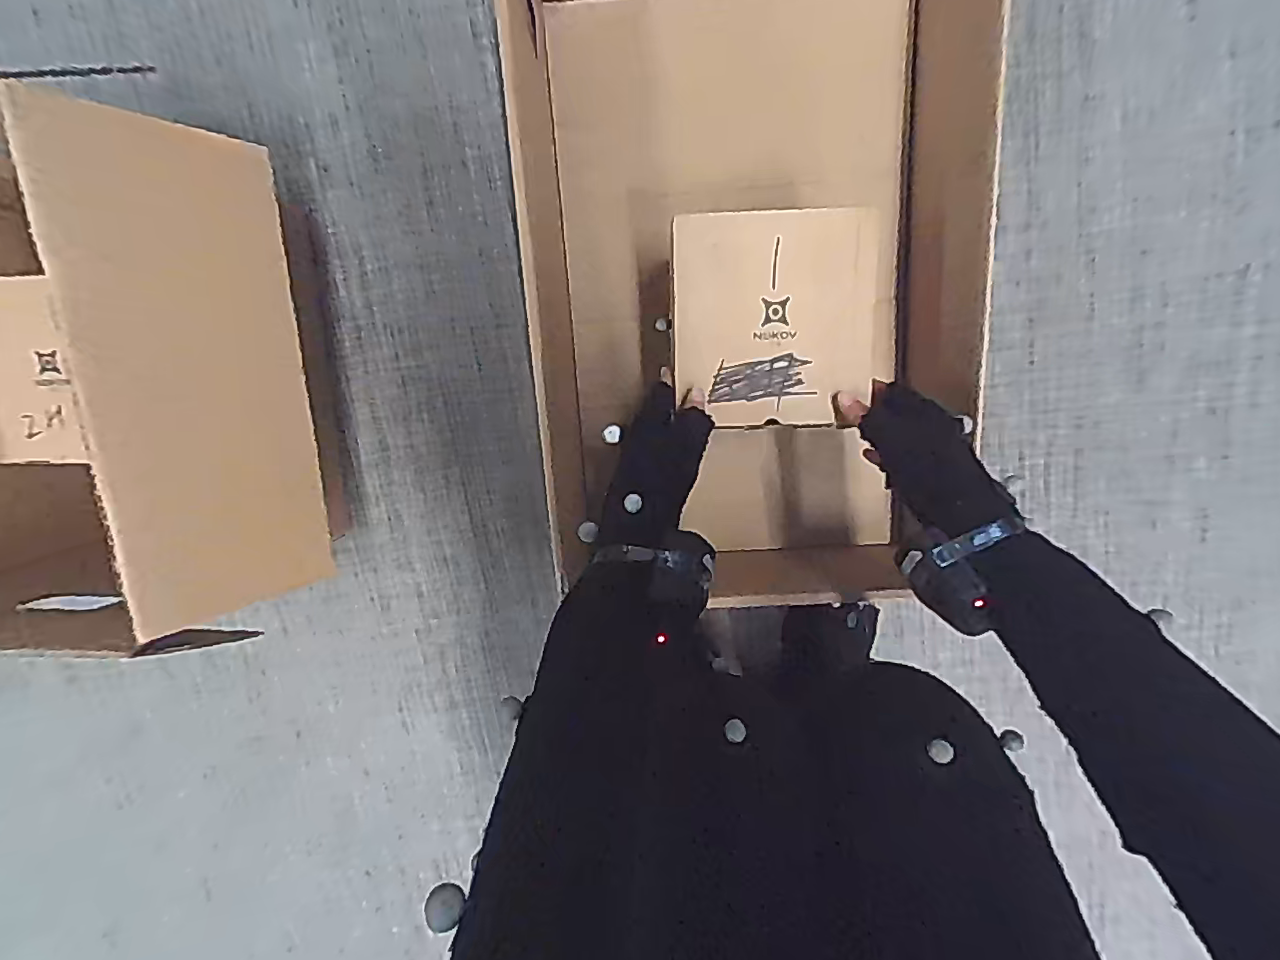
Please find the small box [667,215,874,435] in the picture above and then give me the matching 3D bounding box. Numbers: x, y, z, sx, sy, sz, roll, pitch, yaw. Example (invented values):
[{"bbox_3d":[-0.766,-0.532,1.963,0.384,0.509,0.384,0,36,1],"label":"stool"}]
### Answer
[{"bbox_3d":[0.111,-0.139,0.527,0.168,0.176,0.179,-1,99,3],"label":"small box"}]
